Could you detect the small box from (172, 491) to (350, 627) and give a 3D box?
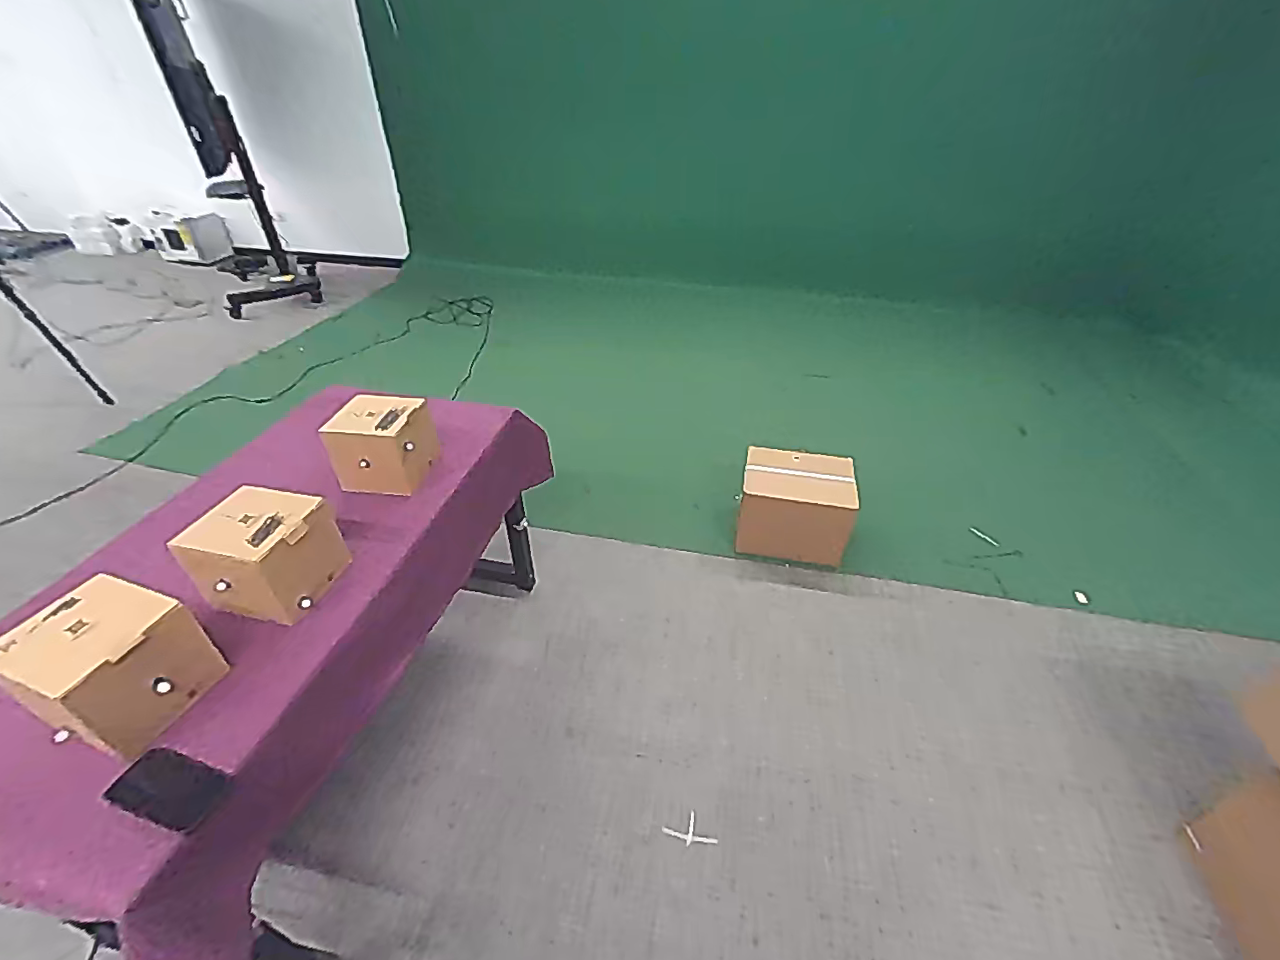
[{"bbox_3d":[-0.671,0.144,0.984,0.179,0.176,0.168,7,37,10],"label":"small box"}]

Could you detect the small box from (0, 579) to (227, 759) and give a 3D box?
[{"bbox_3d":[-0.774,0.281,0.802,0.179,0.176,0.168,13,39,15],"label":"small box"}]
